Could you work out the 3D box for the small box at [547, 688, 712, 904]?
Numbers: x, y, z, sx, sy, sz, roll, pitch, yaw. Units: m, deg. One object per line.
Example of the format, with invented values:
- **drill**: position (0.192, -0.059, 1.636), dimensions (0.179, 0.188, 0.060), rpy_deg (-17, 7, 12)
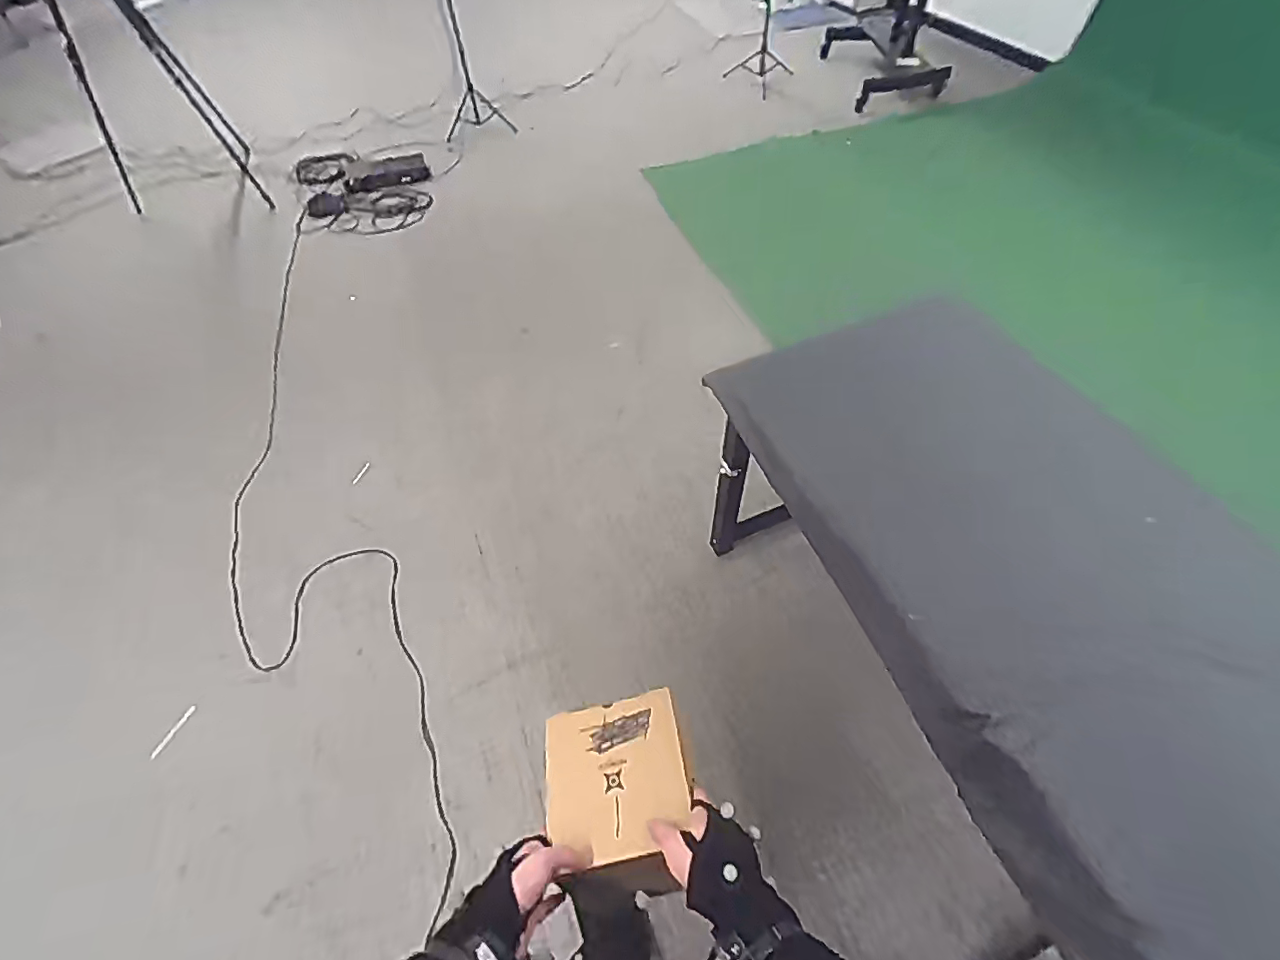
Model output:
- **small box**: position (-0.014, 0.398, 0.683), dimensions (0.168, 0.176, 0.179), rpy_deg (-15, 42, 2)
